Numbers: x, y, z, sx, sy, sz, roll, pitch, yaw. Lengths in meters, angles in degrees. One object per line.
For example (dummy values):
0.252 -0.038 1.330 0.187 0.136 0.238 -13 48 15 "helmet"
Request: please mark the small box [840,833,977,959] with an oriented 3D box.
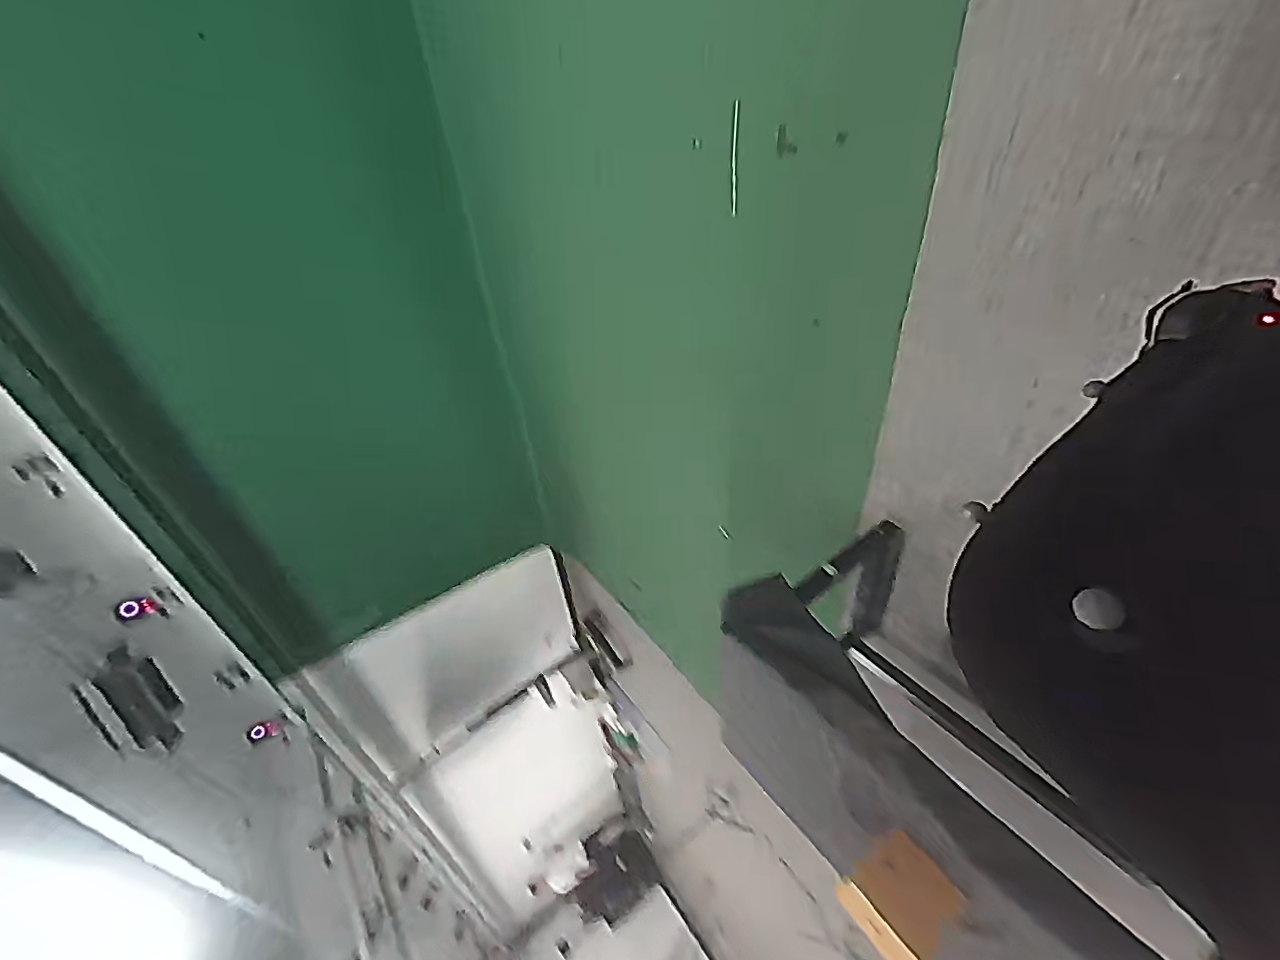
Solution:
0.567 0.893 1.154 0.179 0.176 0.168 41 149 37 "small box"
